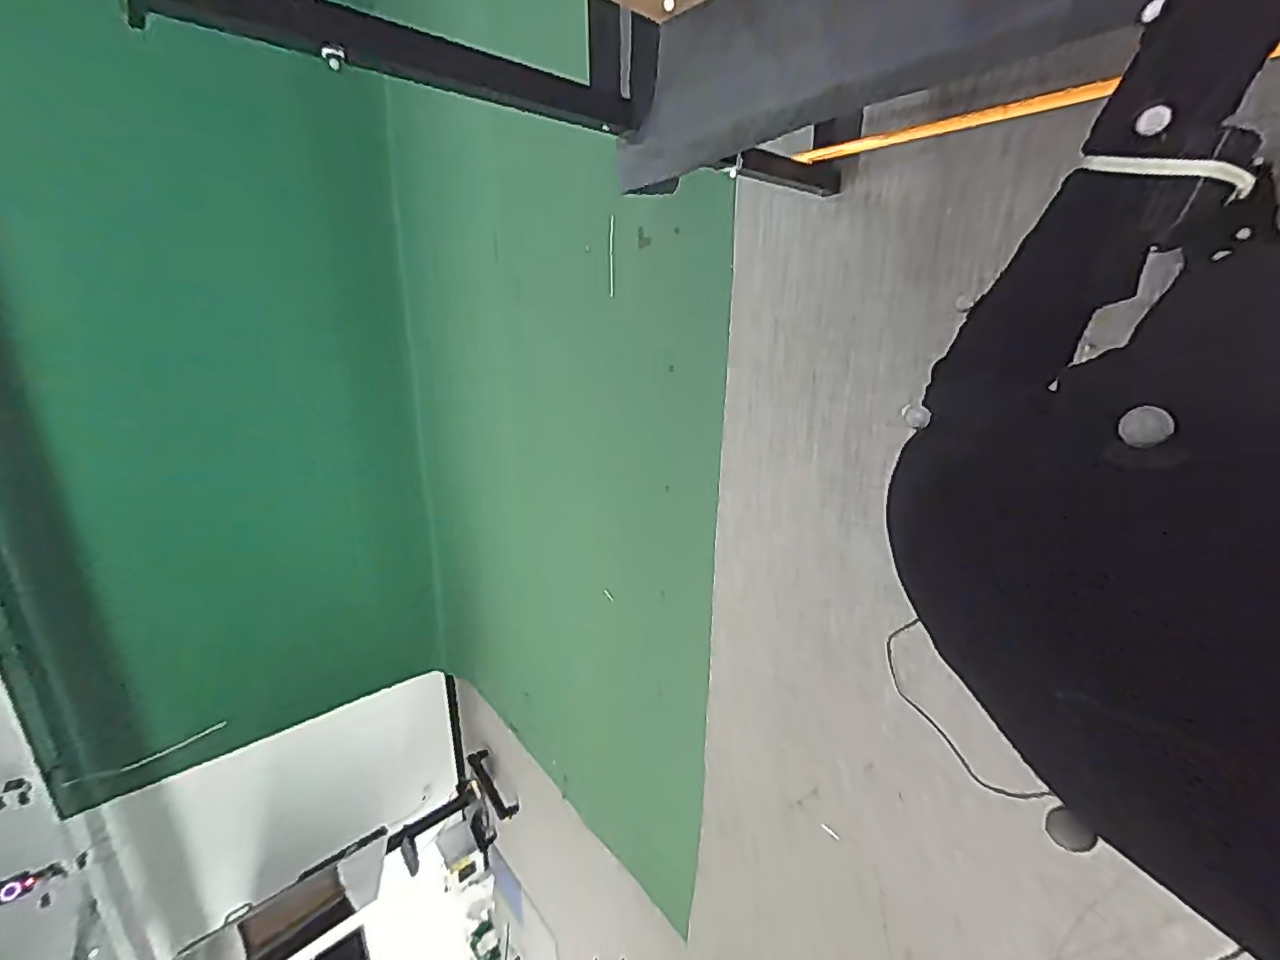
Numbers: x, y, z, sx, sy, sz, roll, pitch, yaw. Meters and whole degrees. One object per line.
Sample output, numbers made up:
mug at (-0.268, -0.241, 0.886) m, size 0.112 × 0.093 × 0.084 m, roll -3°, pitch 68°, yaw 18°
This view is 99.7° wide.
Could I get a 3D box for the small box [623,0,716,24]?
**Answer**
small box at (0.034, -0.853, 0.825) m, size 0.168 × 0.176 × 0.179 m, roll 20°, pitch 116°, yaw 46°
